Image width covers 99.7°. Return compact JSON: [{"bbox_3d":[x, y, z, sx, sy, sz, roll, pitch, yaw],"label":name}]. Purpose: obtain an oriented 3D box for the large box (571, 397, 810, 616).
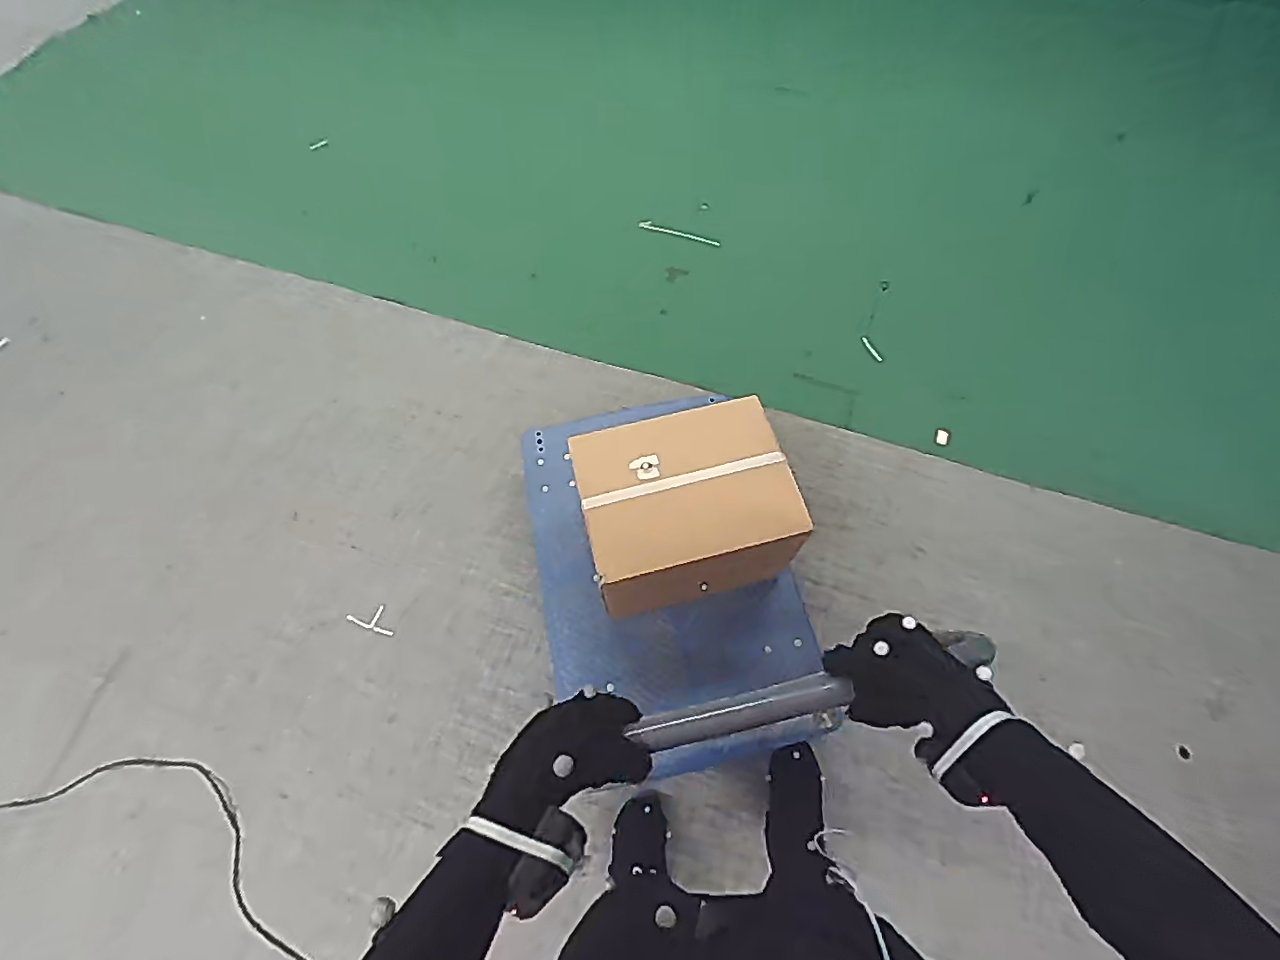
[{"bbox_3d":[0.097,0.071,1.189,0.408,0.320,0.320,-16,64,-5],"label":"large box"}]
